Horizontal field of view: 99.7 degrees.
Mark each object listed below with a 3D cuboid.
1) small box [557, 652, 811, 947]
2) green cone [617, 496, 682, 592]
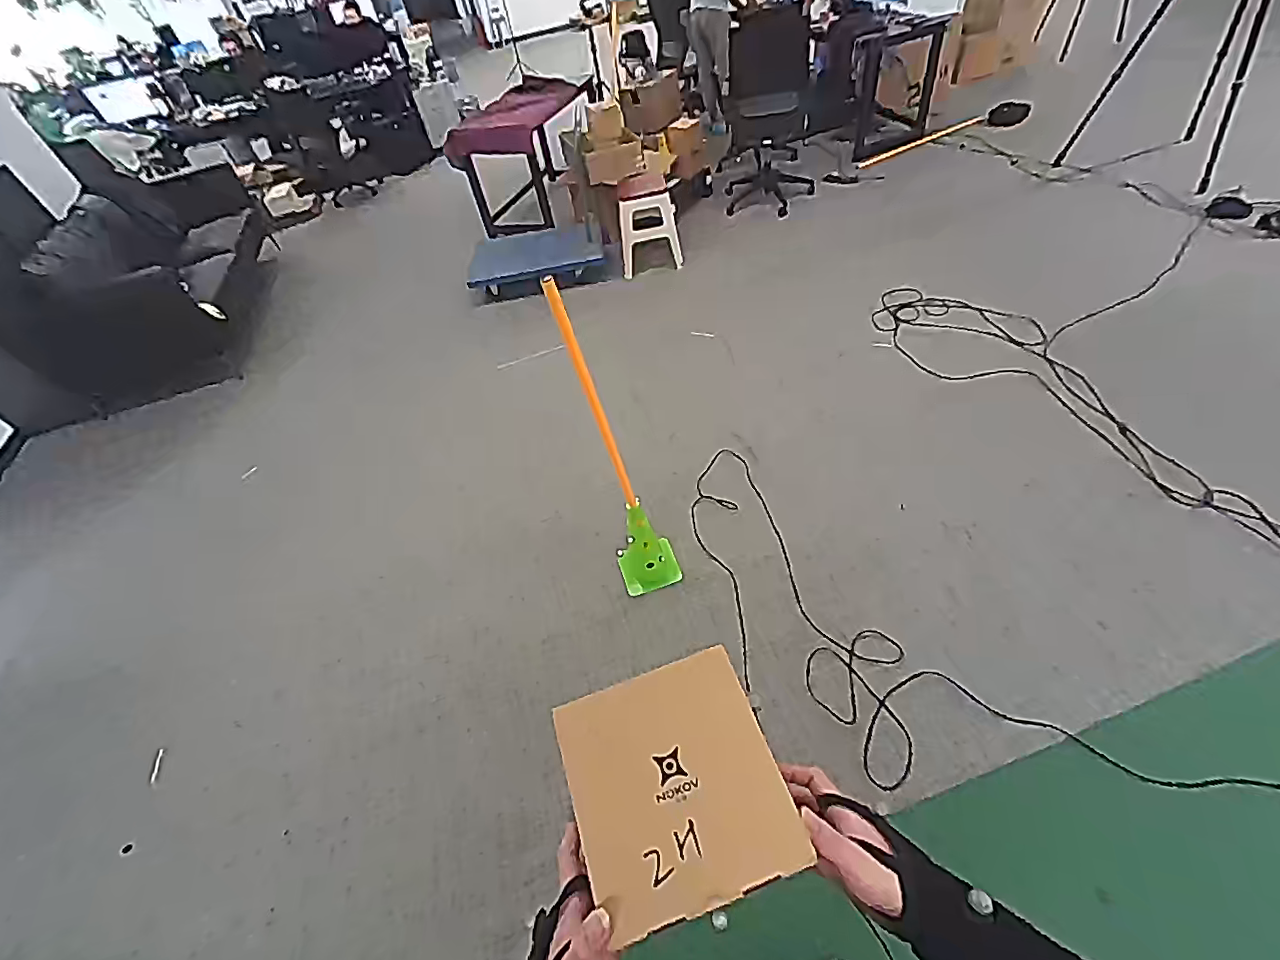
[{"bbox_3d":[0.034,0.294,0.505,0.168,0.176,0.179,-18,53,-5],"label":"small box"},{"bbox_3d":[0.009,0.188,1.826,0.202,0.368,0.200,-17,48,-6],"label":"green cone"}]
